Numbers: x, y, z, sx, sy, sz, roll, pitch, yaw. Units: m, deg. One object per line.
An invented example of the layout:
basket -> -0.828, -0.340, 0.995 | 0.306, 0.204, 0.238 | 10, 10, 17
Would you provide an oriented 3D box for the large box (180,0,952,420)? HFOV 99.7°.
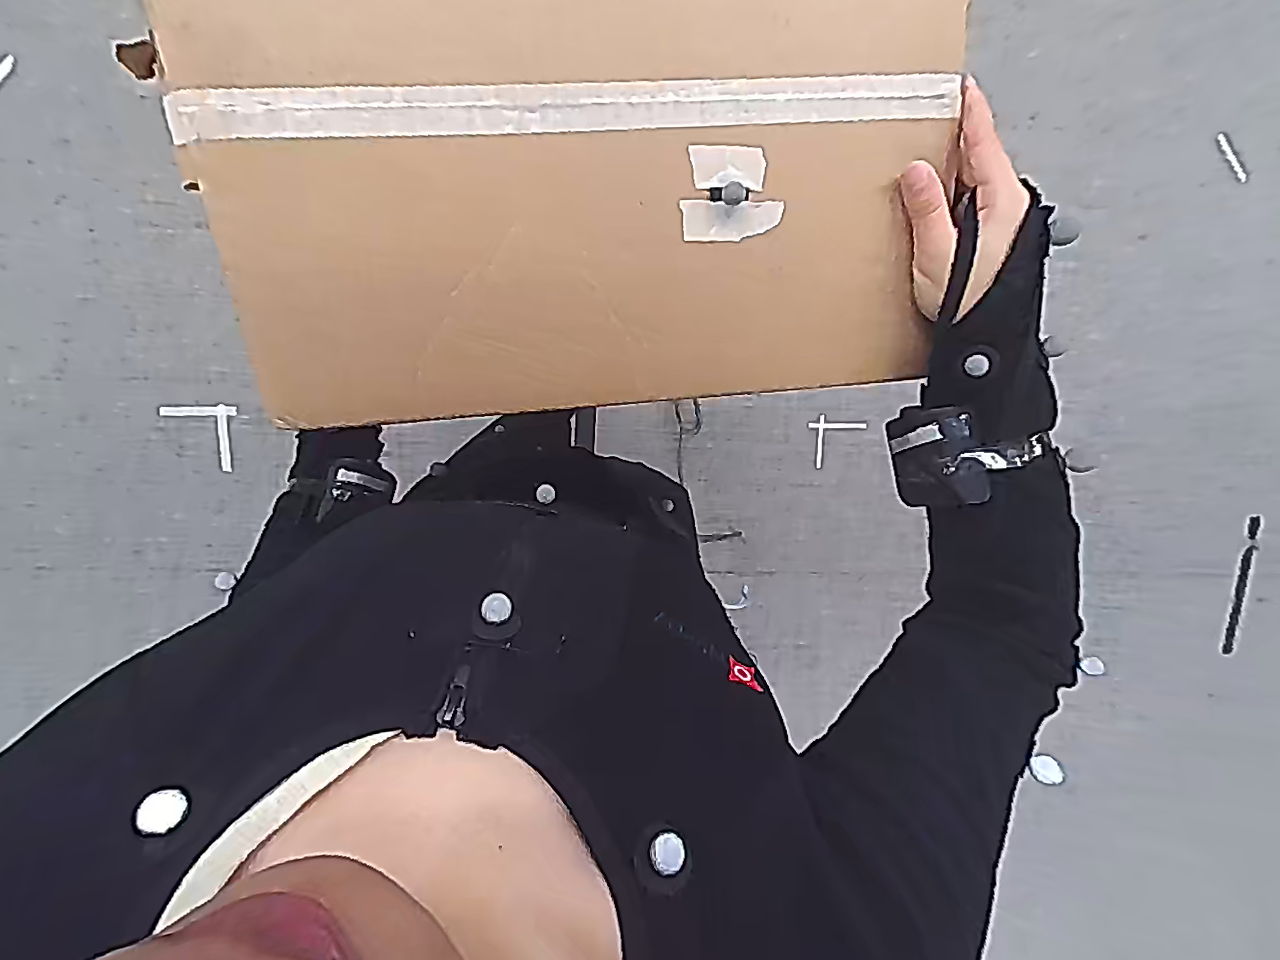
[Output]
large box -> -0.044, -0.247, 0.434 | 0.408, 0.320, 0.320 | -6, 109, -7
